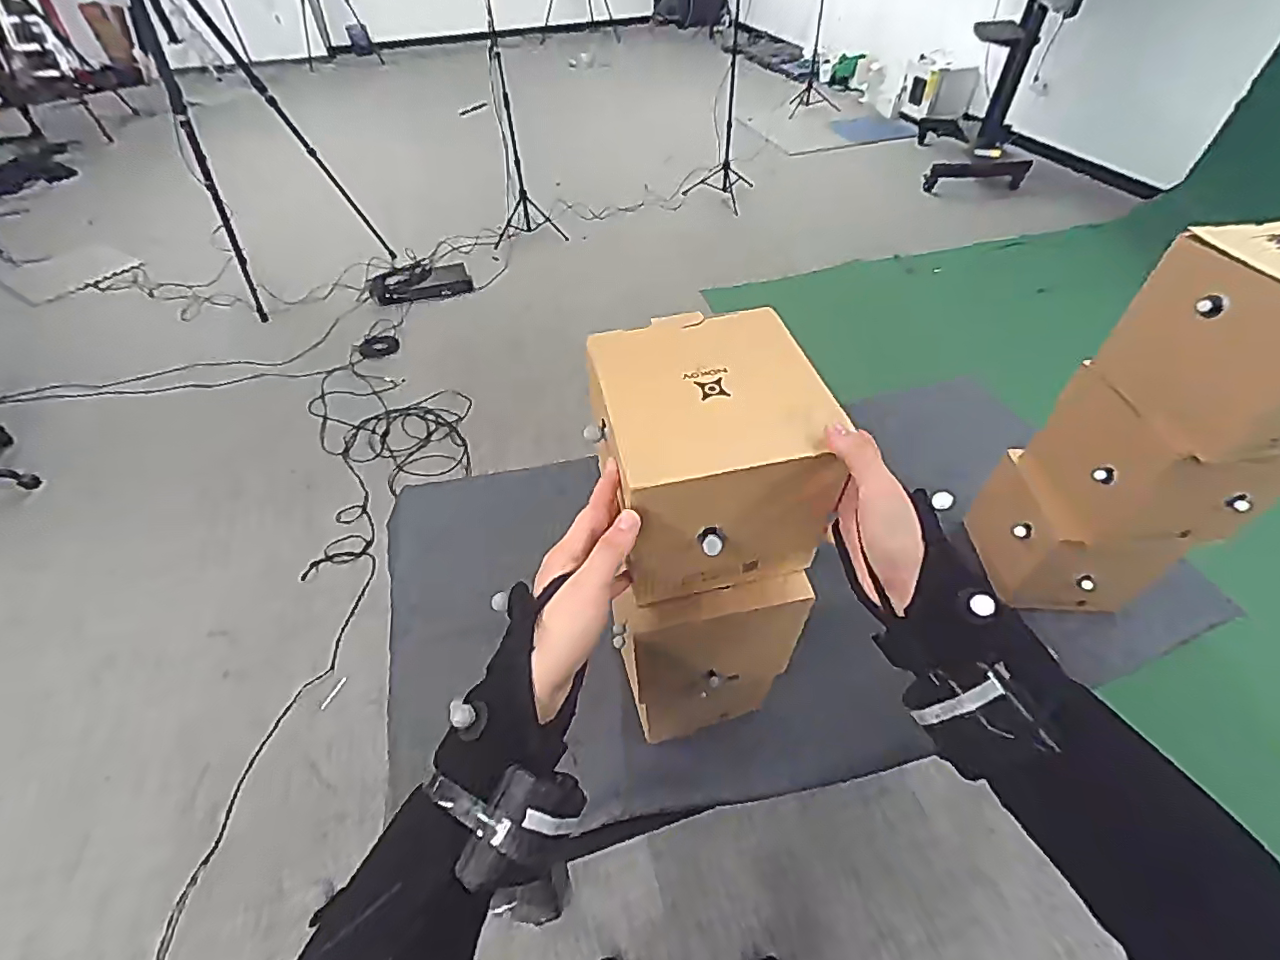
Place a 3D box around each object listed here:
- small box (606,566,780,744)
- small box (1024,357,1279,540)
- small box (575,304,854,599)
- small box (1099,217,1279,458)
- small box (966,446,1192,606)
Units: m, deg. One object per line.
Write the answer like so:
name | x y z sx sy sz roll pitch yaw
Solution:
small box | 0.059 0.210 0.704 0.168 0.176 0.179 -14 48 -9
small box | 0.631 -0.037 0.668 0.168 0.176 0.179 -2 46 0
small box | 0.048 -0.016 0.456 0.168 0.176 0.179 -12 51 -7
small box | 0.633 -0.145 0.544 0.168 0.176 0.179 -7 48 -4
small box | 0.617 0.069 0.792 0.168 0.176 0.179 1 46 4
